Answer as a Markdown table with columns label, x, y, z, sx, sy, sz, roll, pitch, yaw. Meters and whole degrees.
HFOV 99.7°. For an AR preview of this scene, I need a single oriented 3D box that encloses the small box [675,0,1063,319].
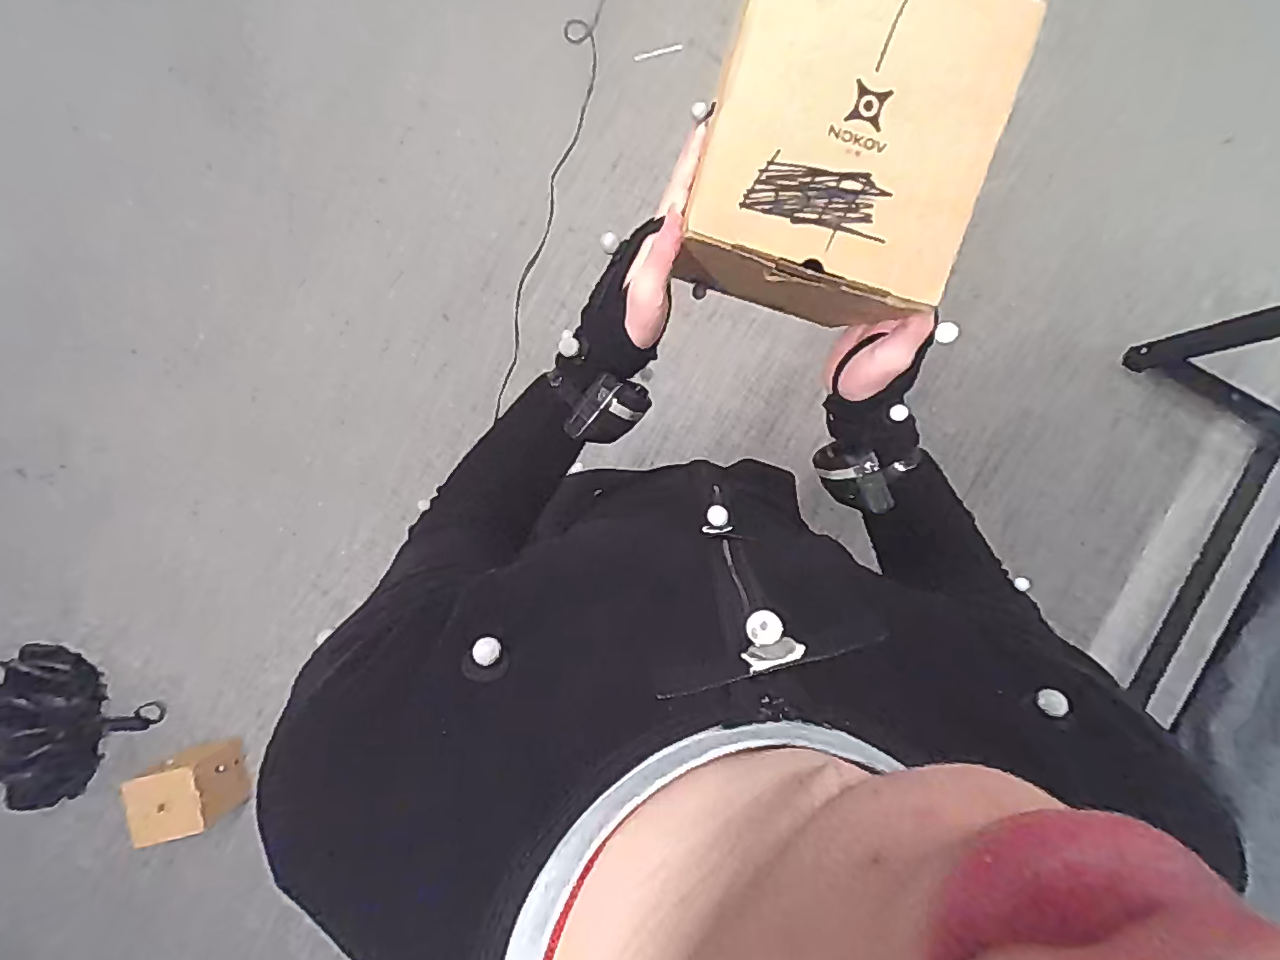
| label | x | y | z | sx | sy | sz | roll | pitch | yaw |
| --- | --- | --- | --- | --- | --- | --- | --- | --- | --- |
| small box | 0.128 | -0.223 | 0.382 | 0.168 | 0.176 | 0.179 | 16 | 102 | -5 |
